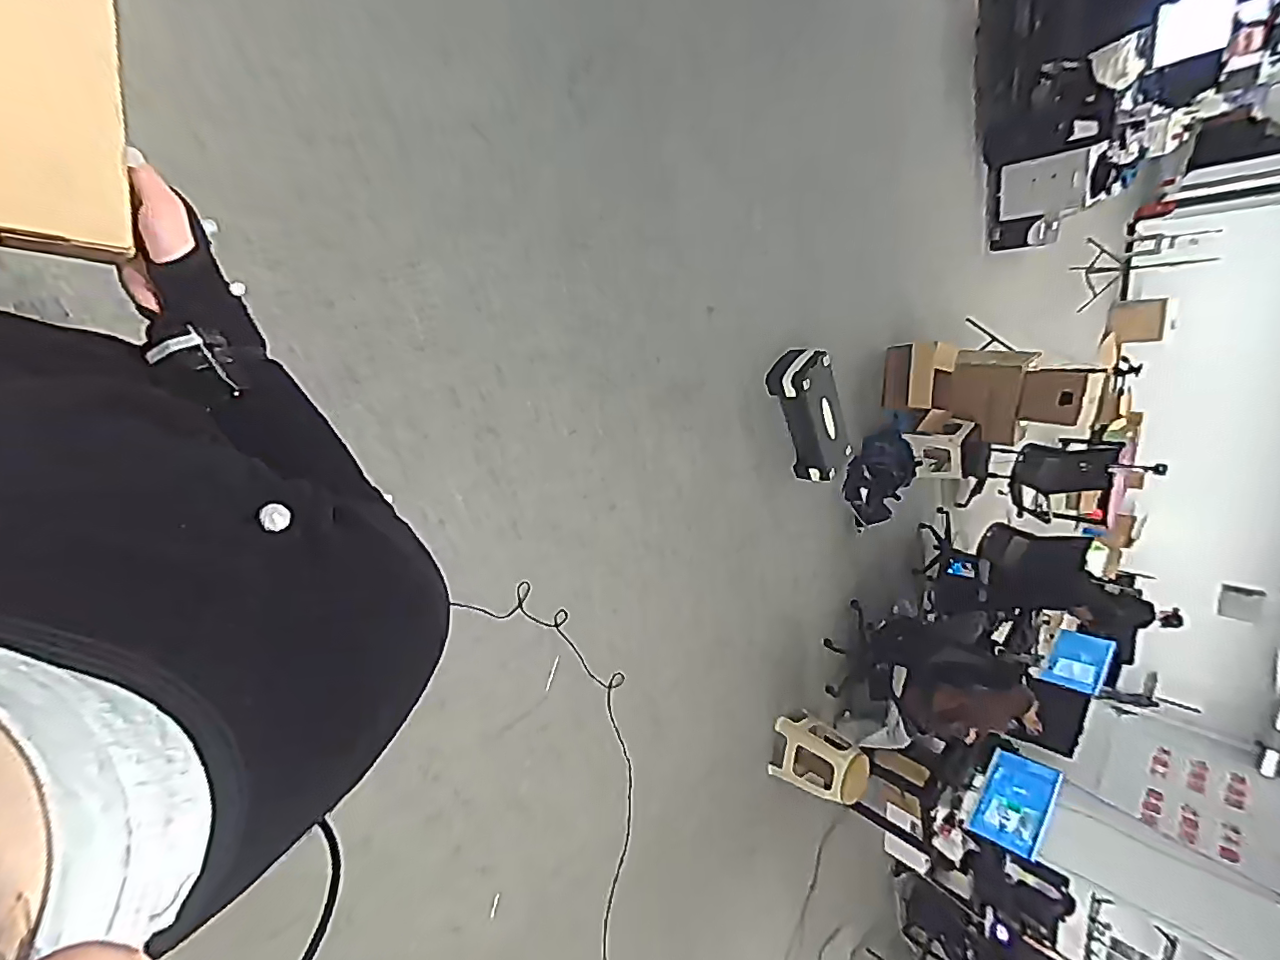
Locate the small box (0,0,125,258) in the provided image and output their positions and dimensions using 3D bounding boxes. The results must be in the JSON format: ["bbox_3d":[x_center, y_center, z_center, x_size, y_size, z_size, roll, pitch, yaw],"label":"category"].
[{"bbox_3d":[-0.432,-0.240,0.323,0.168,0.176,0.179,-7,108,-47],"label":"small box"}]
